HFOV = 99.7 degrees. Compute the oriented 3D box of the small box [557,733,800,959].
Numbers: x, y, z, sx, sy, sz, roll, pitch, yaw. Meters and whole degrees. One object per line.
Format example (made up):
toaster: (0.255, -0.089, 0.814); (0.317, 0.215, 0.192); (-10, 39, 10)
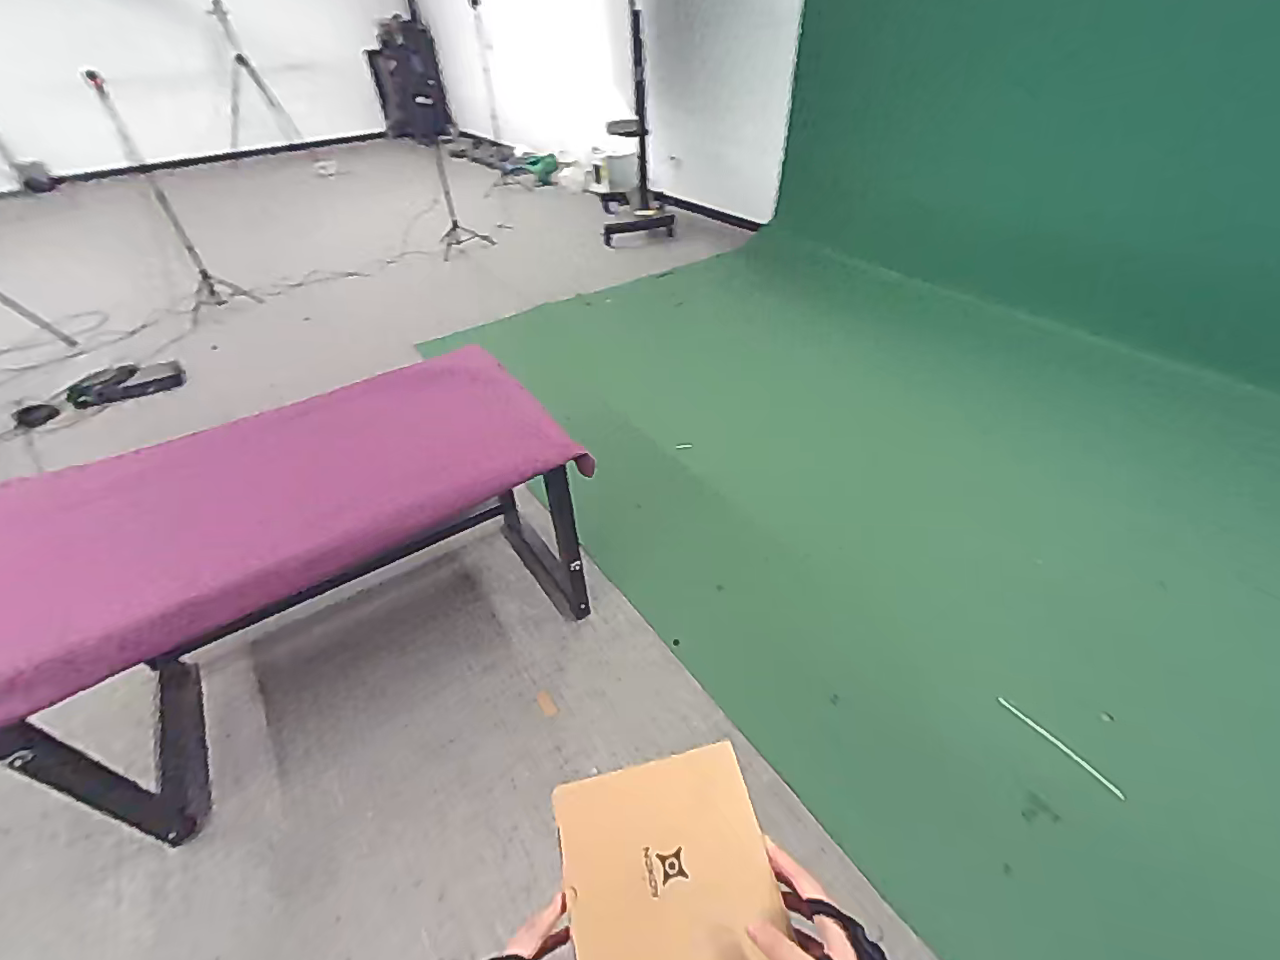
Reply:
small box: (0.026, 0.370, 0.525); (0.179, 0.176, 0.168); (-12, 52, -8)
